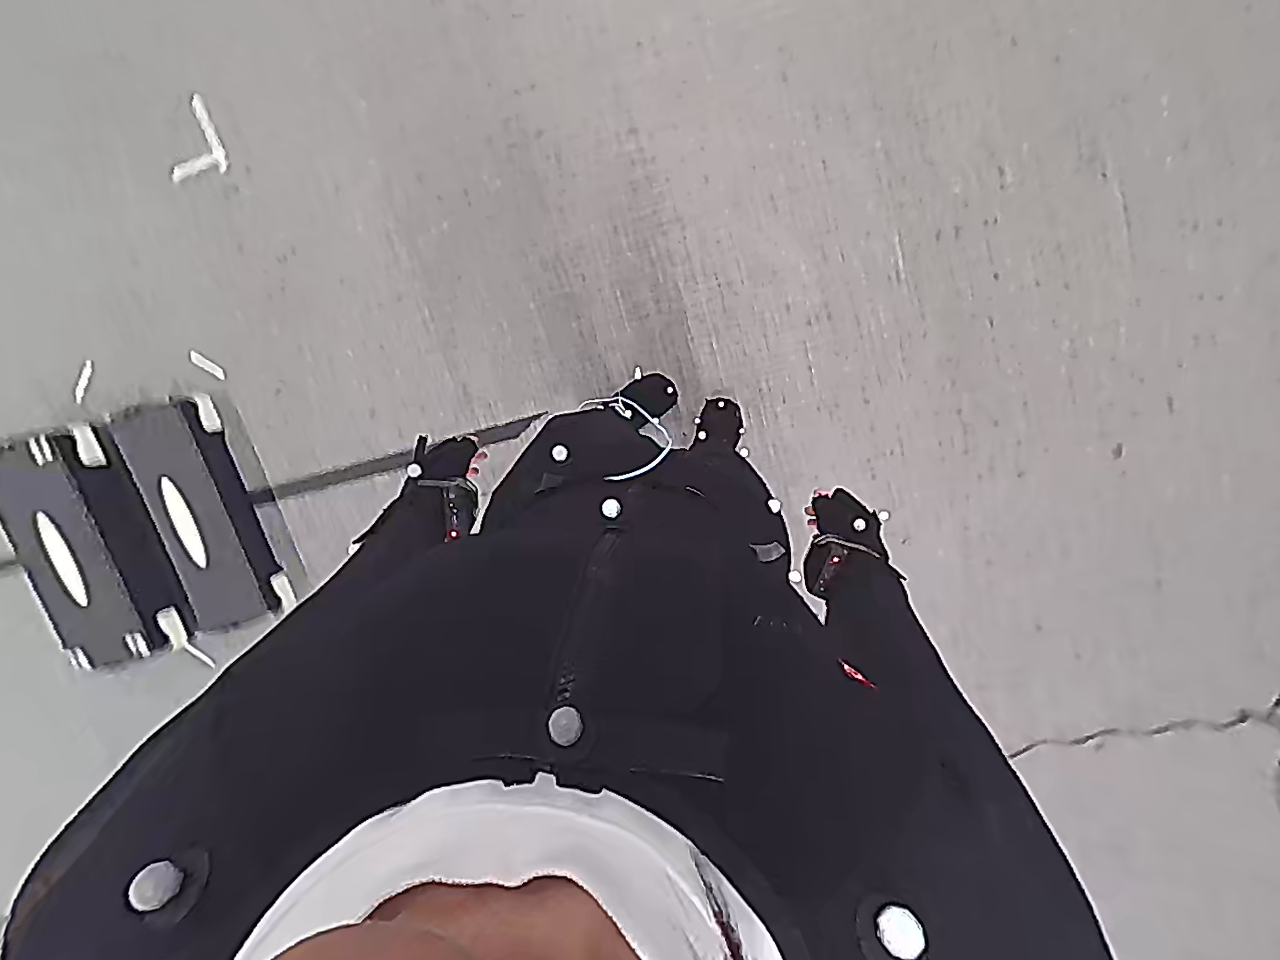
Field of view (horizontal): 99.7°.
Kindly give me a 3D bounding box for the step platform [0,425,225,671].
[{"bbox_3d":[-1.505,0.199,1.545,0.286,0.204,0.684,-16,99,8],"label":"step platform"}]
